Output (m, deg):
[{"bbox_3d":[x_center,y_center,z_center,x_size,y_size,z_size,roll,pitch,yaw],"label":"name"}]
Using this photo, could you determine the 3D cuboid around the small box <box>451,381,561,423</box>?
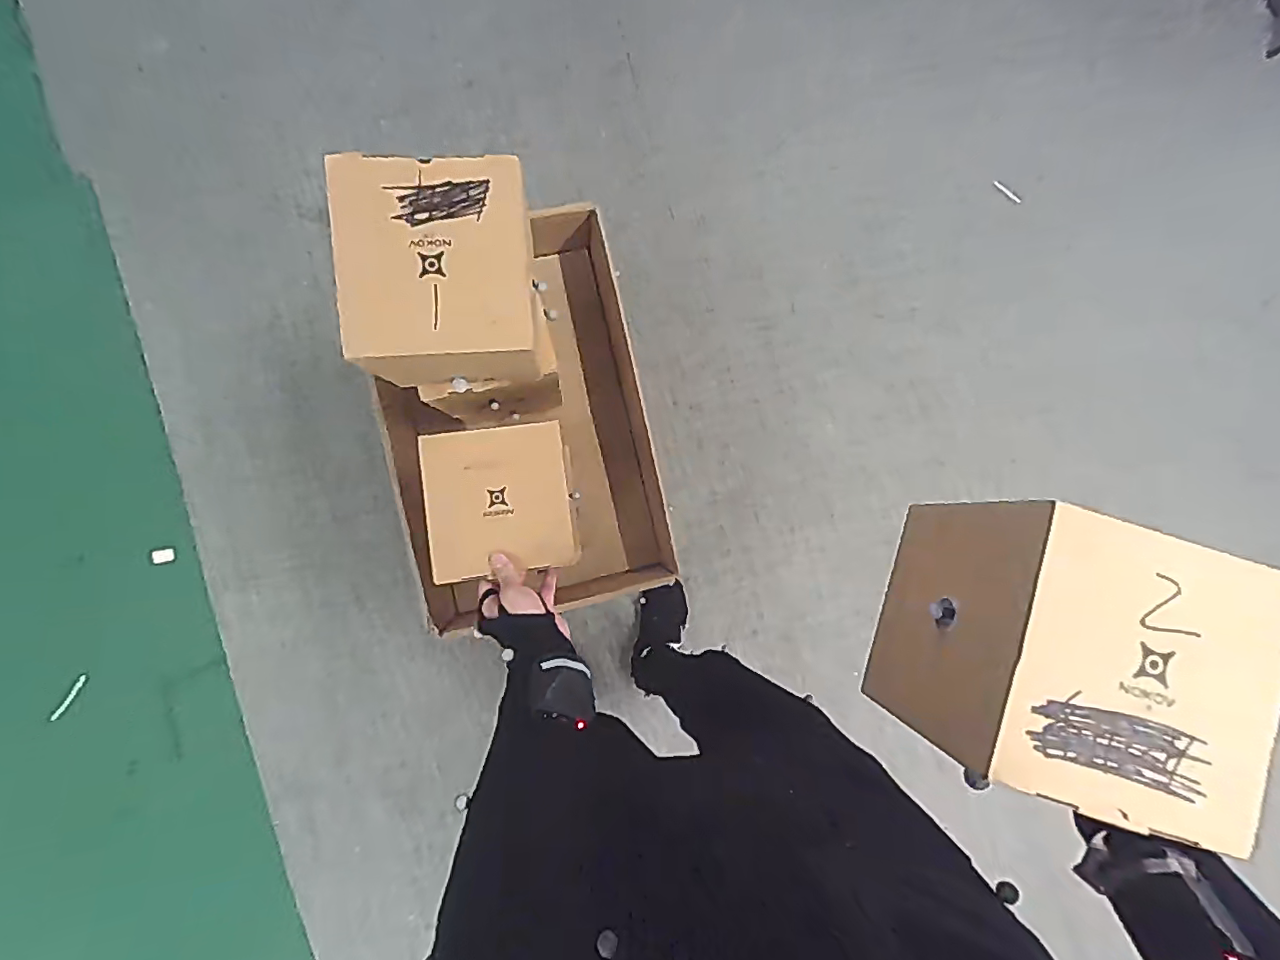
[{"bbox_3d":[-0.228,-0.199,0.883,0.168,0.176,0.179,-13,92,-7],"label":"small box"}]

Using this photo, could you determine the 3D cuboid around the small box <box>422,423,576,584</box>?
[{"bbox_3d":[-0.175,0.031,0.716,0.168,0.176,0.179,-7,86,-8],"label":"small box"}]

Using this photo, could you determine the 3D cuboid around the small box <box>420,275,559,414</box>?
[{"bbox_3d":[-0.209,-0.196,0.722,0.168,0.176,0.179,-14,94,-8],"label":"small box"}]

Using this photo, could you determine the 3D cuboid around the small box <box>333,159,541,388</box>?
[{"bbox_3d":[-0.192,-0.197,0.559,0.168,0.176,0.179,-4,92,-8],"label":"small box"}]
